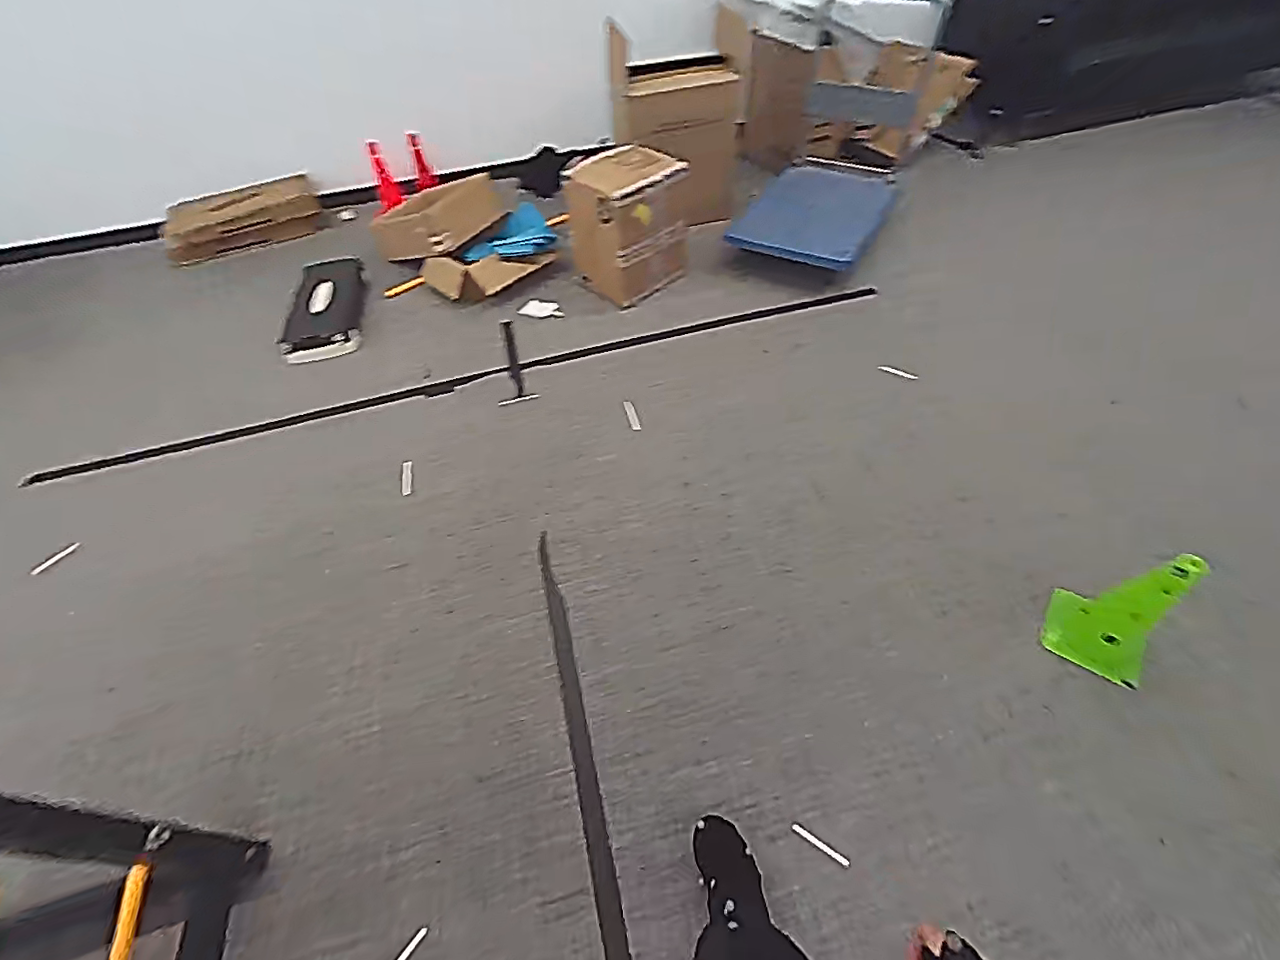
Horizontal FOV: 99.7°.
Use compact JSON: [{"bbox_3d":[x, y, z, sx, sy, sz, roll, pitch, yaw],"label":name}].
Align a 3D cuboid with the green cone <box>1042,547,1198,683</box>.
[{"bbox_3d":[1.123,0.268,1.225,0.202,0.368,0.200,26,56,25],"label":"green cone"}]
